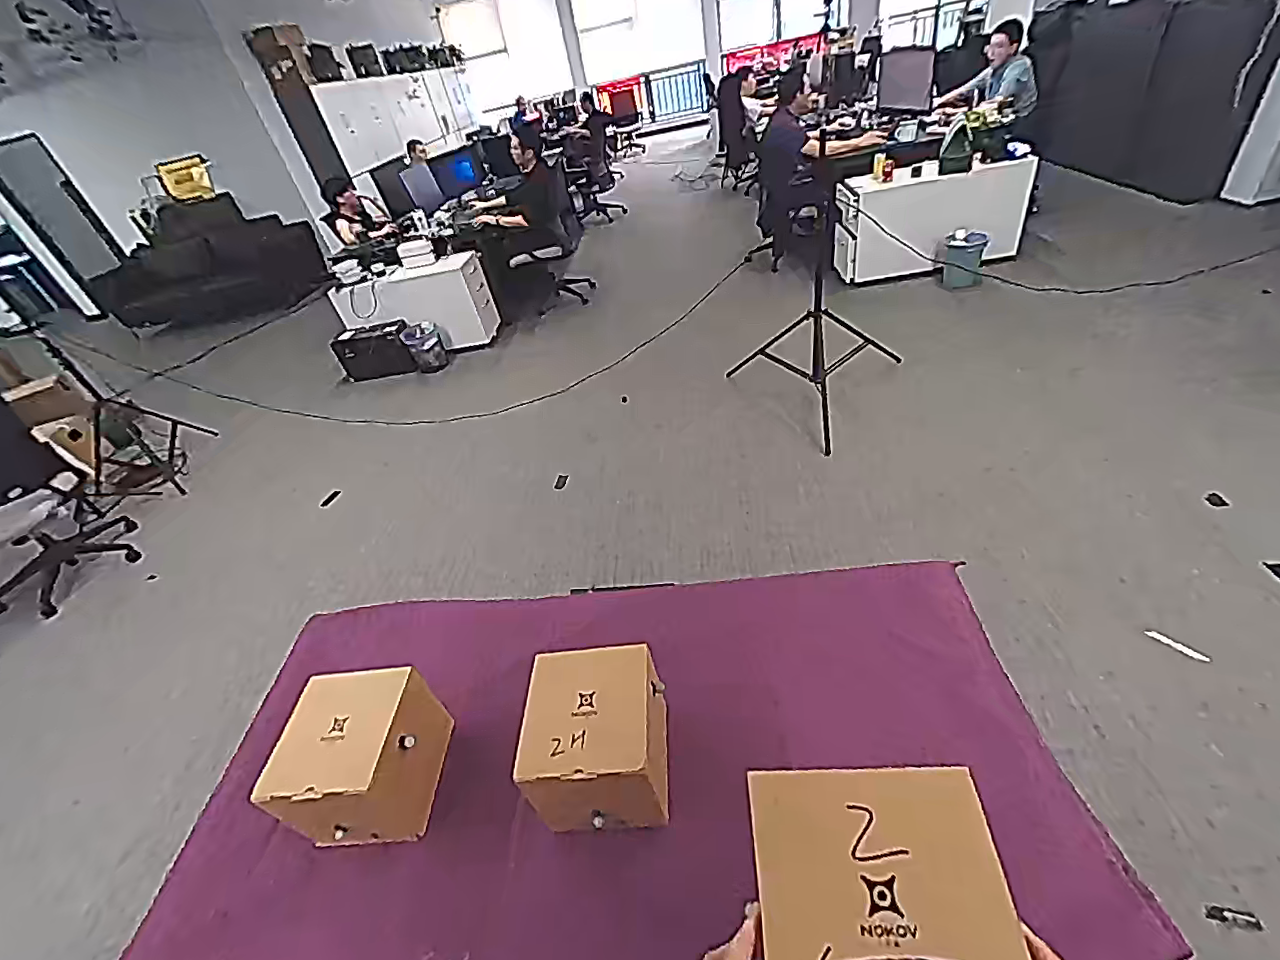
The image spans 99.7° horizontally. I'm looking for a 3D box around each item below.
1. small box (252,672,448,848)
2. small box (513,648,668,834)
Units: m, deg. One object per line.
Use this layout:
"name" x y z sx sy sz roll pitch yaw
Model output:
"small box" -0.403 0.410 0.794 0.168 0.176 0.179 -8 39 6
"small box" -0.056 0.360 0.750 0.168 0.176 0.179 -8 38 8
